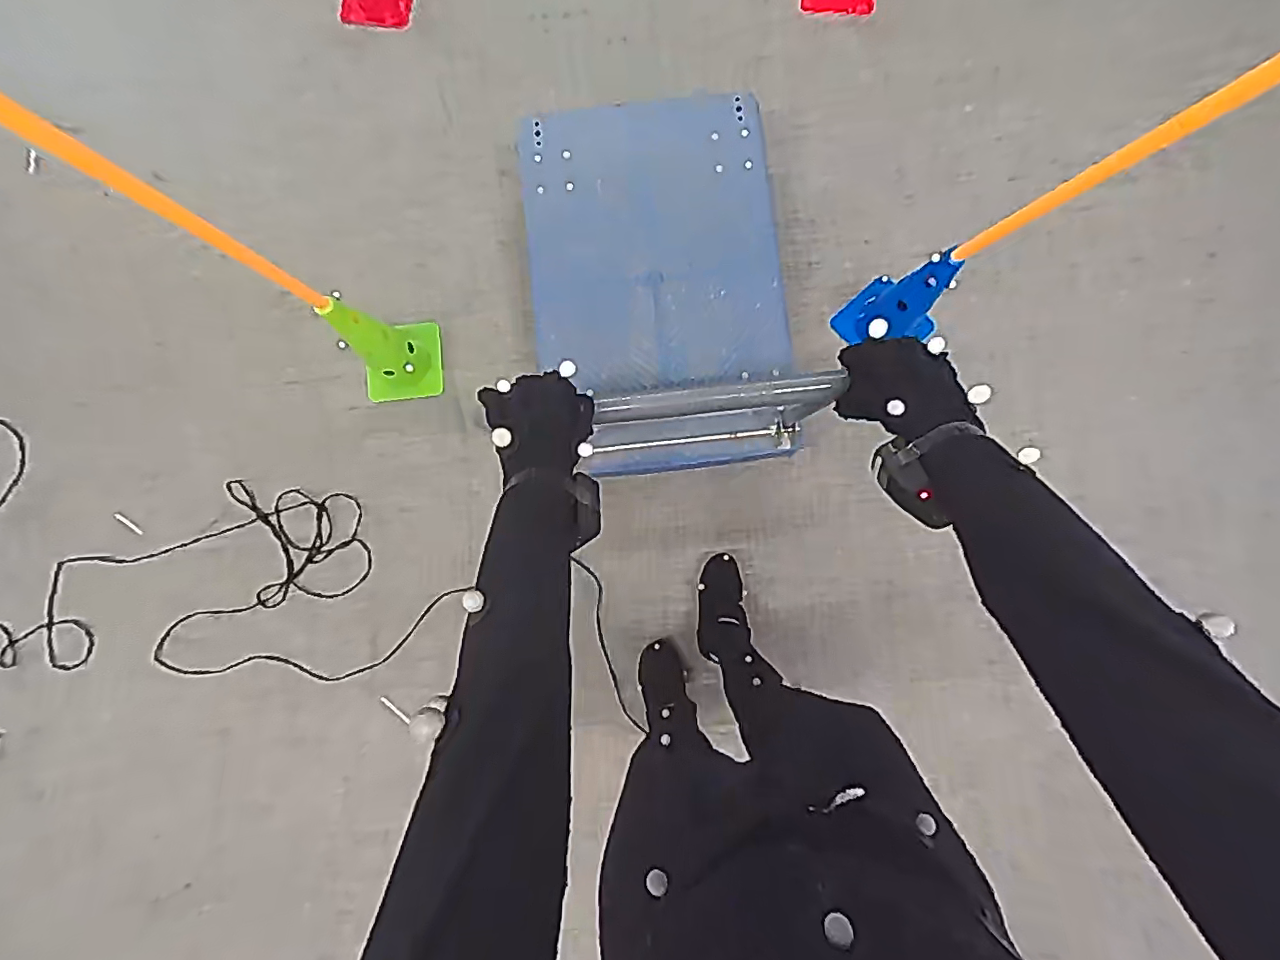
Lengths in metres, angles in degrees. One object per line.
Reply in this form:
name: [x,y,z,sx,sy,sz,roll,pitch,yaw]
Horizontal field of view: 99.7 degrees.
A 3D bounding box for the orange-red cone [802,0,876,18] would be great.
orange-red cone: [0.546,-1.387,1.325,0.198,0.360,0.199,6,85,4]
